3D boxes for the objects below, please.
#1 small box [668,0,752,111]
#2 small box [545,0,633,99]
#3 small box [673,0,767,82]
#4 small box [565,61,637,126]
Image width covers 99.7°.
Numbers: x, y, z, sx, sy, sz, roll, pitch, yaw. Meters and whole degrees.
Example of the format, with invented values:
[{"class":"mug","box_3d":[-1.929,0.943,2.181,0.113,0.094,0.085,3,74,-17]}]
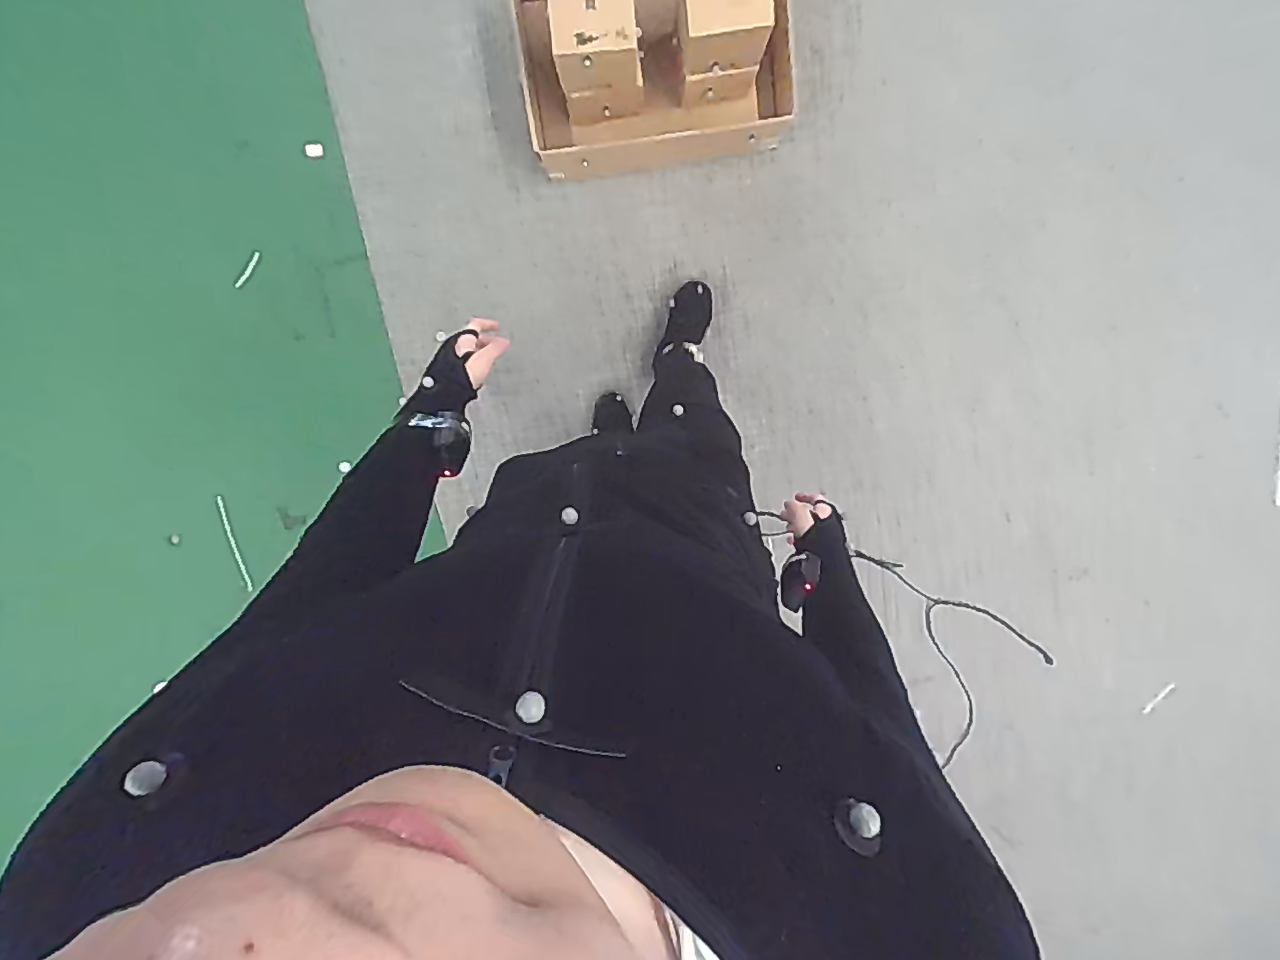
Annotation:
[{"class":"small box","box_3d":[0.160,-0.997,1.266,0.168,0.176,0.179,-8,103,2]},{"class":"small box","box_3d":[-0.101,-0.924,1.109,0.168,0.176,0.179,-4,103,0]},{"class":"small box","box_3d":[0.158,-0.962,1.106,0.168,0.176,0.179,-6,104,3]},{"class":"small box","box_3d":[-0.100,-0.961,1.270,0.168,0.176,0.179,-10,104,0]}]
